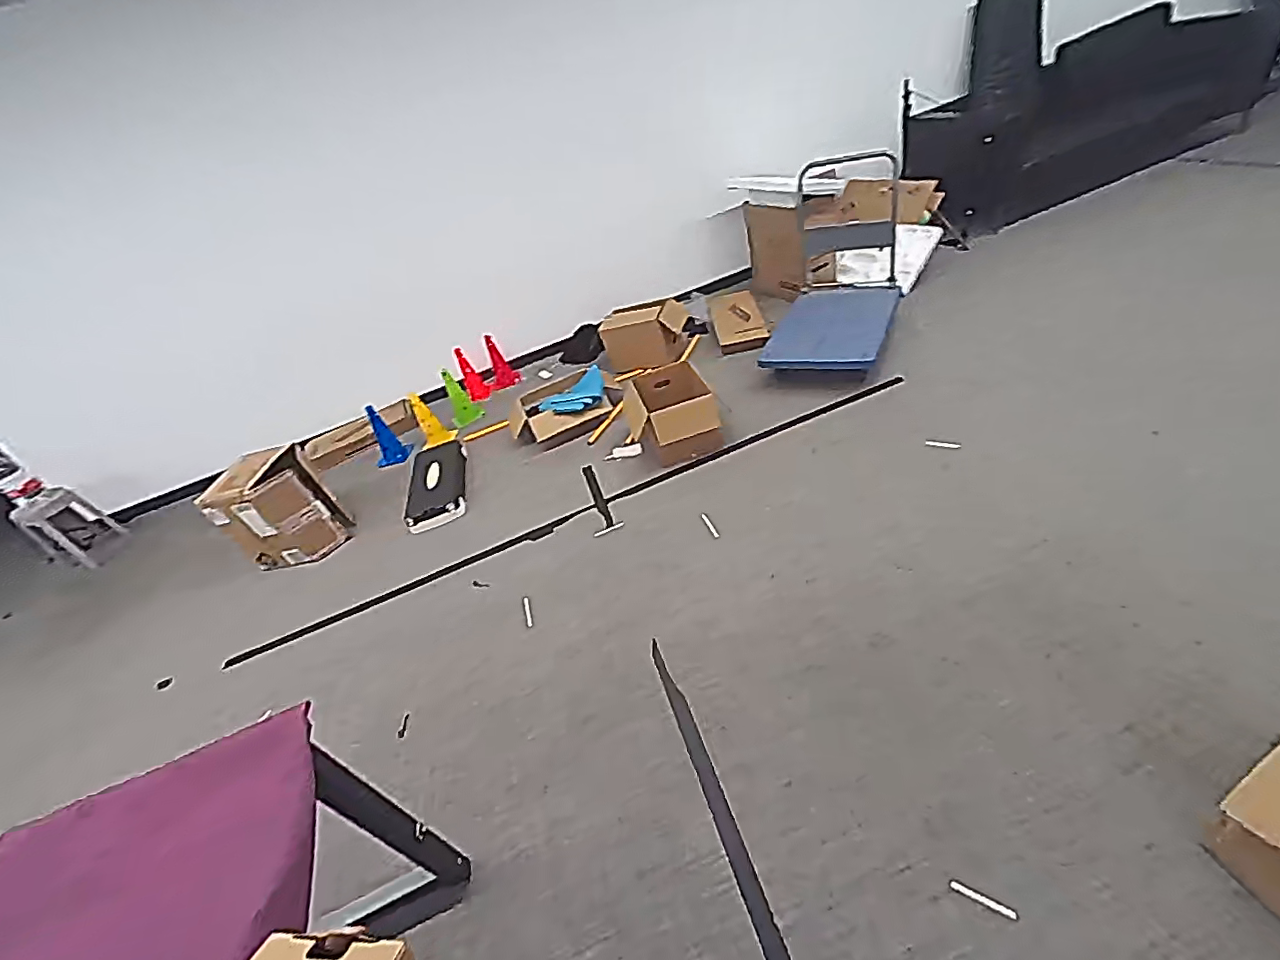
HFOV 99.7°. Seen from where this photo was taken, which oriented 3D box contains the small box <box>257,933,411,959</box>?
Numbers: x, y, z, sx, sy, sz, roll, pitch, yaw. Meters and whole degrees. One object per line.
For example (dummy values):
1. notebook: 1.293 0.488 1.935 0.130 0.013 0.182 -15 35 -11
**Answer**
1. small box: -0.293 0.552 0.470 0.168 0.176 0.179 -9 12 15
